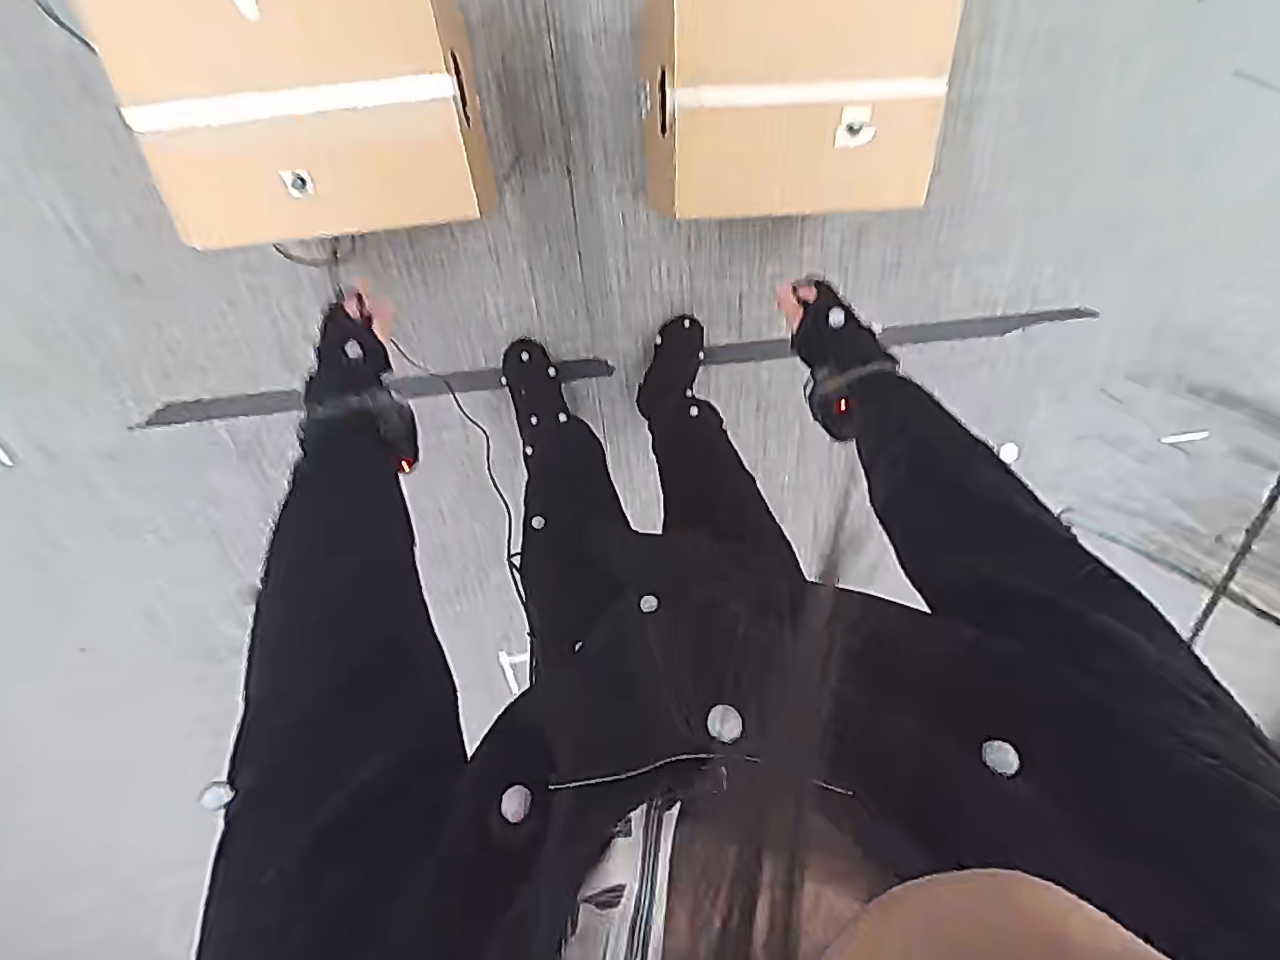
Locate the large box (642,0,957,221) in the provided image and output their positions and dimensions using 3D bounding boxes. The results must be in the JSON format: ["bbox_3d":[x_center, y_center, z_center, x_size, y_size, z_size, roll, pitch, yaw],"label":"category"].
[{"bbox_3d":[0.226,-0.626,0.910,0.408,0.320,0.320,-6,119,-6],"label":"large box"}]
